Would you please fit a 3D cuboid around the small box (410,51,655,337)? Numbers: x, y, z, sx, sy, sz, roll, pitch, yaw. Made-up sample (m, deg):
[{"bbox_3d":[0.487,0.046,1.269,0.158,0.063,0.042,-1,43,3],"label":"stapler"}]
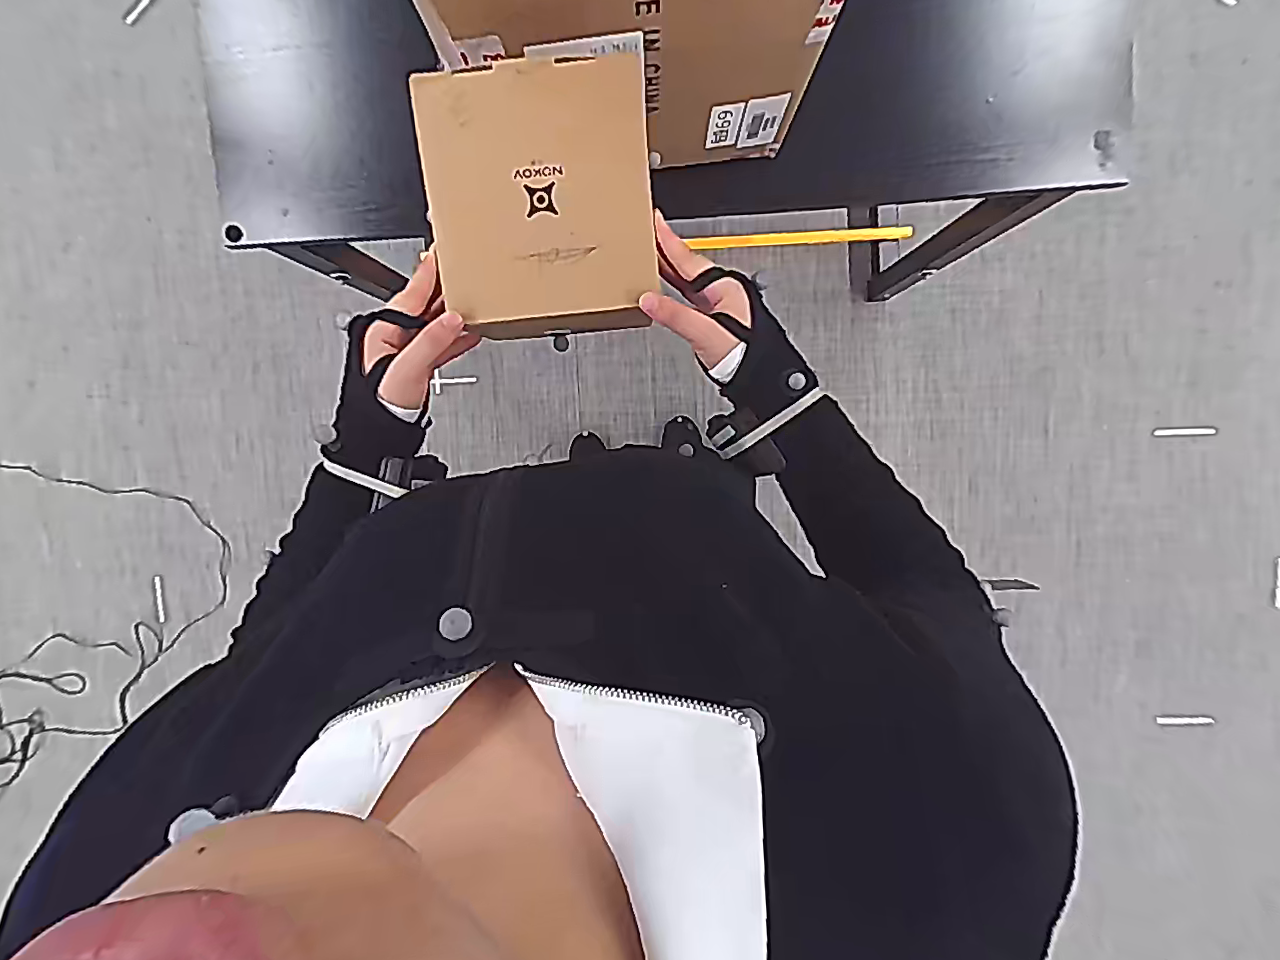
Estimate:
[{"bbox_3d":[-0.079,-0.228,0.477,0.168,0.176,0.179,-6,101,0],"label":"small box"}]
